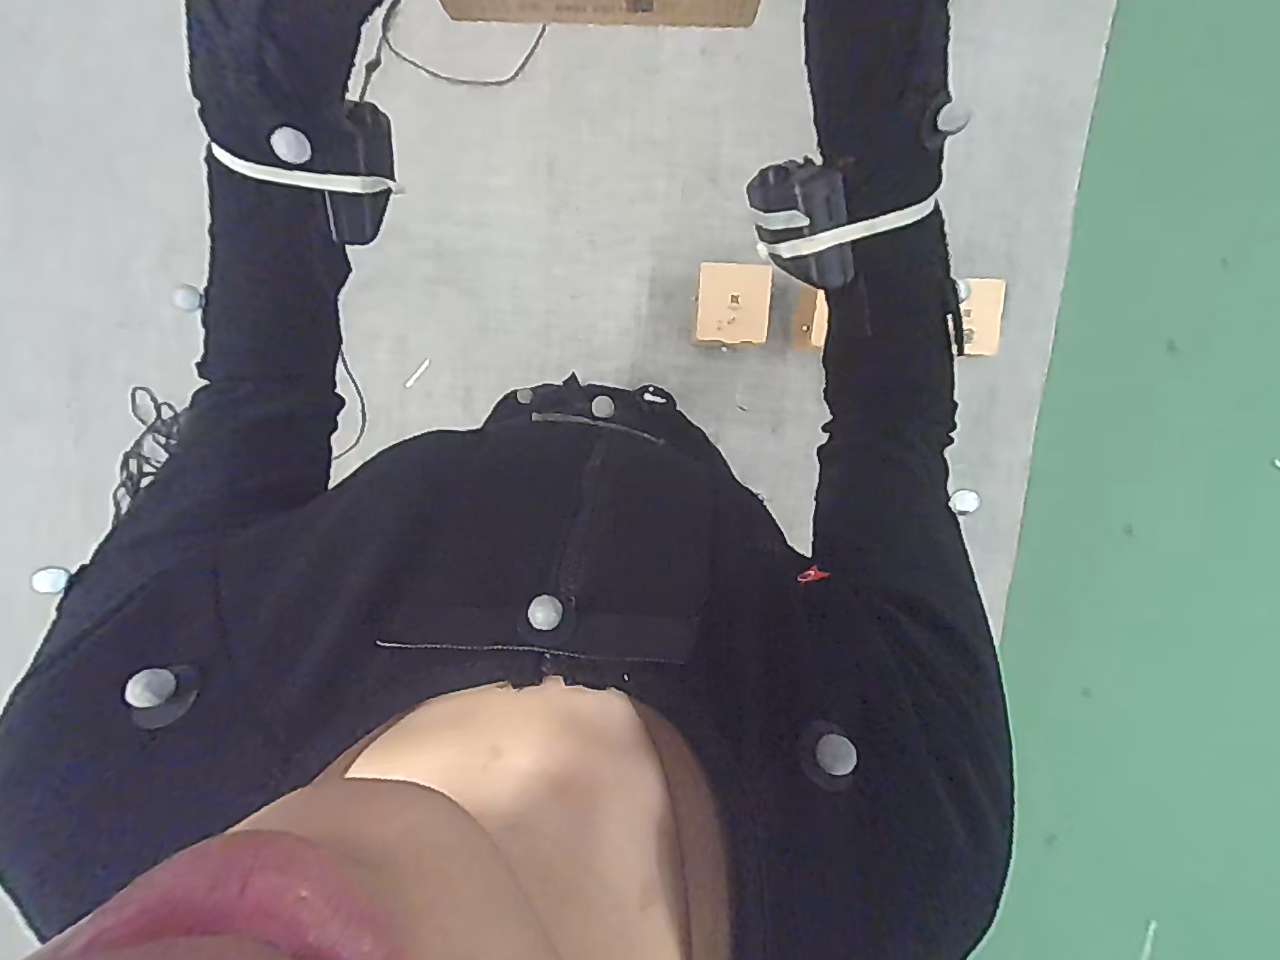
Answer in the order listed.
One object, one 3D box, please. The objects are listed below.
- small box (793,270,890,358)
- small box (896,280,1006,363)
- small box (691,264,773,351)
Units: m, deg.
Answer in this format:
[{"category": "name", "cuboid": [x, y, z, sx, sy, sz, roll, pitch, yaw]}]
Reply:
[{"category": "small box", "cuboid": [0.484, -0.398, 1.324, 0.168, 0.176, 0.179, 5, 100, -1]}, {"category": "small box", "cuboid": [0.752, -0.382, 1.326, 0.168, 0.176, 0.179, 2, 99, -1]}, {"category": "small box", "cuboid": [0.216, -0.413, 1.317, 0.168, 0.176, 0.179, 3, 100, 0]}]
